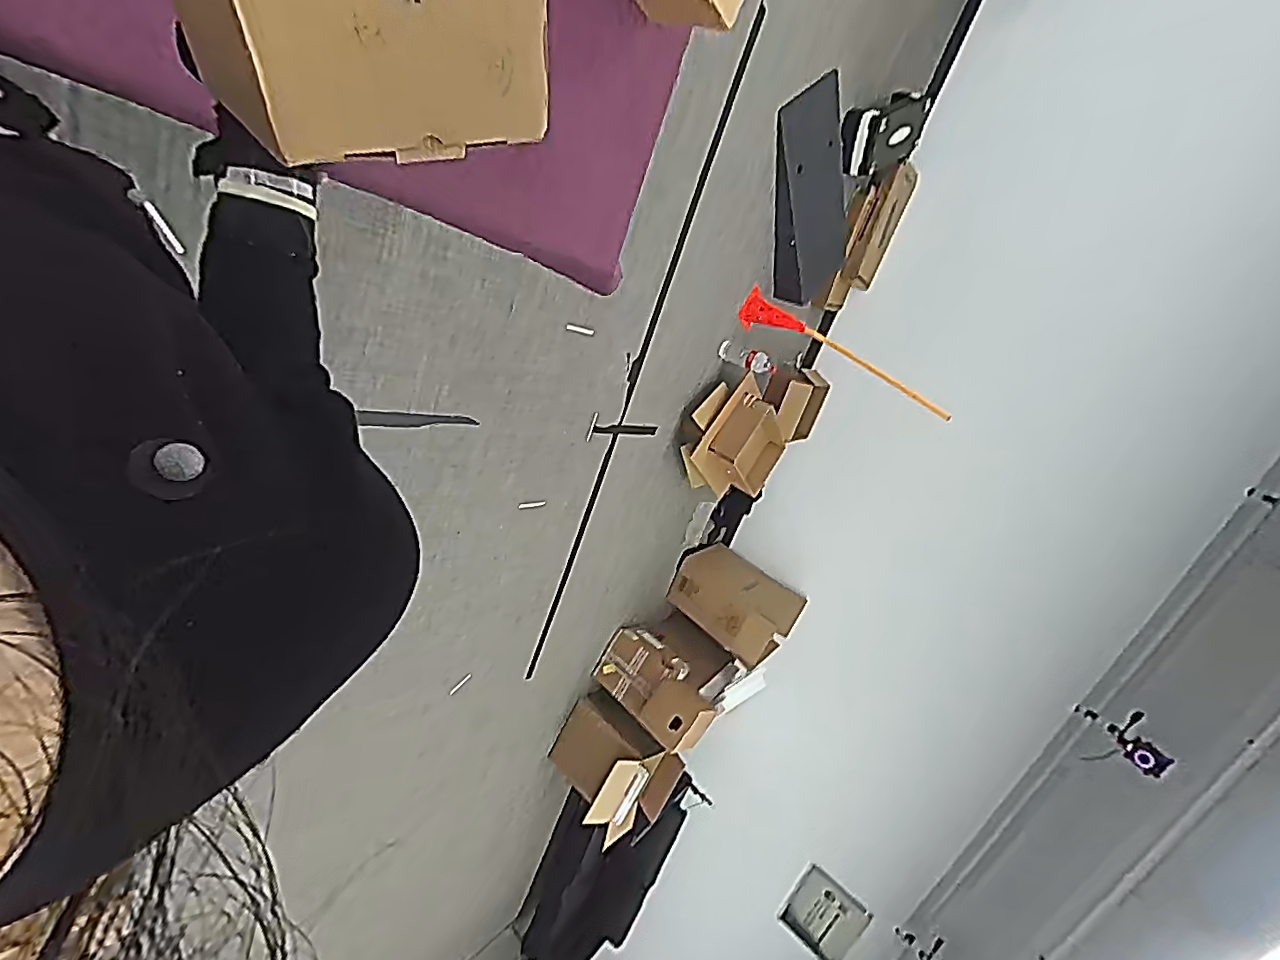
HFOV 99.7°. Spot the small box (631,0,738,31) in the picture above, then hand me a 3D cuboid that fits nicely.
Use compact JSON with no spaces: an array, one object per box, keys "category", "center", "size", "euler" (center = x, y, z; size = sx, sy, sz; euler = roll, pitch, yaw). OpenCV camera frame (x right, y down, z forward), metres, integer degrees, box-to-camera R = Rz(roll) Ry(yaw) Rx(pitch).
[{"category":"small box","center":[0.060,-0.790,0.758],"size":[0.168,0.176,0.179],"euler":[1,121,-56]}]

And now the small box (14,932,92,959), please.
[{"category":"small box","center":[-1.441,1.248,1.289],"size":[0.179,0.176,0.168],"euler":[7,111,-57]}]

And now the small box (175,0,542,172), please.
[{"category":"small box","center":[-0.172,-0.309,0.313],"size":[0.168,0.176,0.179],"euler":[-29,148,-31]}]
